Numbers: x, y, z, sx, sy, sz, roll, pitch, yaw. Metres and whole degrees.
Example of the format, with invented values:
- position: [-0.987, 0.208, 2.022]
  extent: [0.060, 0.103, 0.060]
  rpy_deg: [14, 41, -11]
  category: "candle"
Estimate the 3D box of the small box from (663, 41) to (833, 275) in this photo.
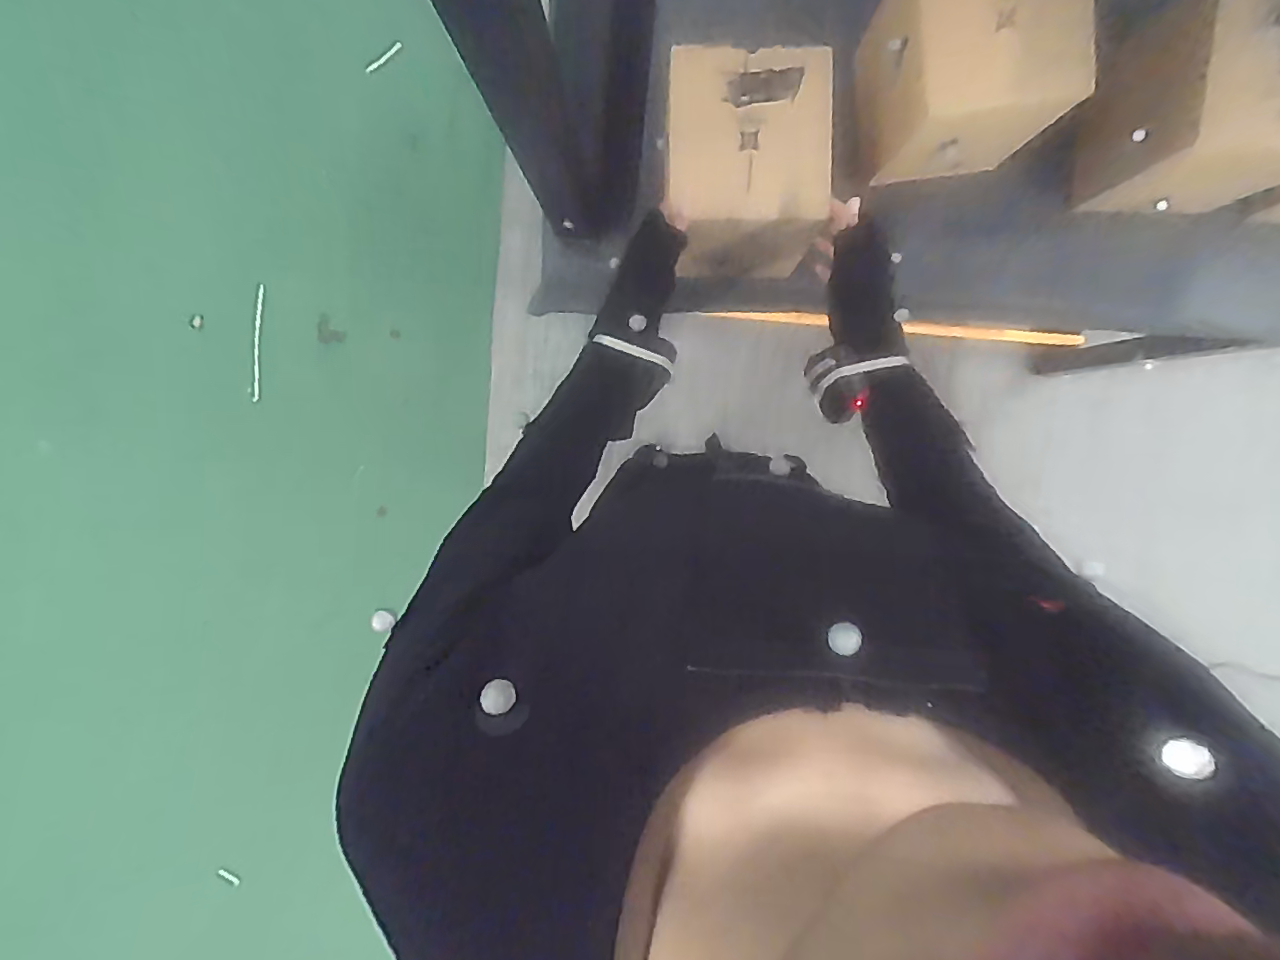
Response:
- position: [0.112, -0.355, 0.624]
  extent: [0.168, 0.176, 0.179]
  rpy_deg: [1, 92, 2]
  category: "small box"
